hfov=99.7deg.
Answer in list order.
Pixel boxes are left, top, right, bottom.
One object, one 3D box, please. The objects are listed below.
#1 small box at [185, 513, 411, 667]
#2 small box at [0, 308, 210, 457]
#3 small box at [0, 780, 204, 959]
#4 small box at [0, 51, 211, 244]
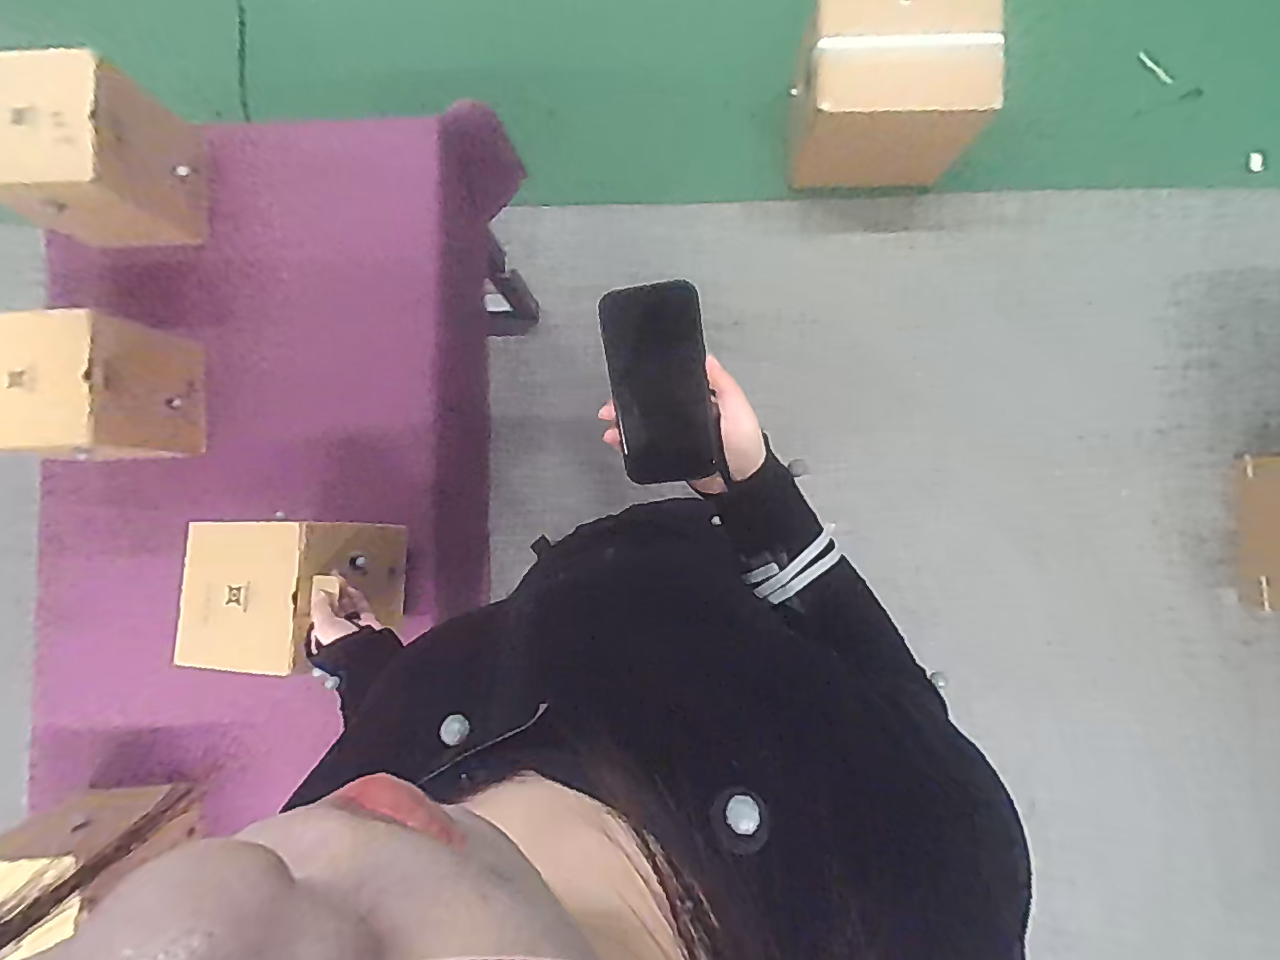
[{"bbox_3d":[-0.417,0.128,0.684,0.179,0.176,0.168,-1,83,18],"label":"small box"},{"bbox_3d":[-0.738,-0.121,0.735,0.179,0.176,0.168,-3,88,2],"label":"small box"},{"bbox_3d":[-0.718,0.520,0.713,0.179,0.176,0.168,-5,87,1],"label":"small box"},{"bbox_3d":[-0.741,-0.440,0.740,0.179,0.176,0.168,0,89,2],"label":"small box"}]
